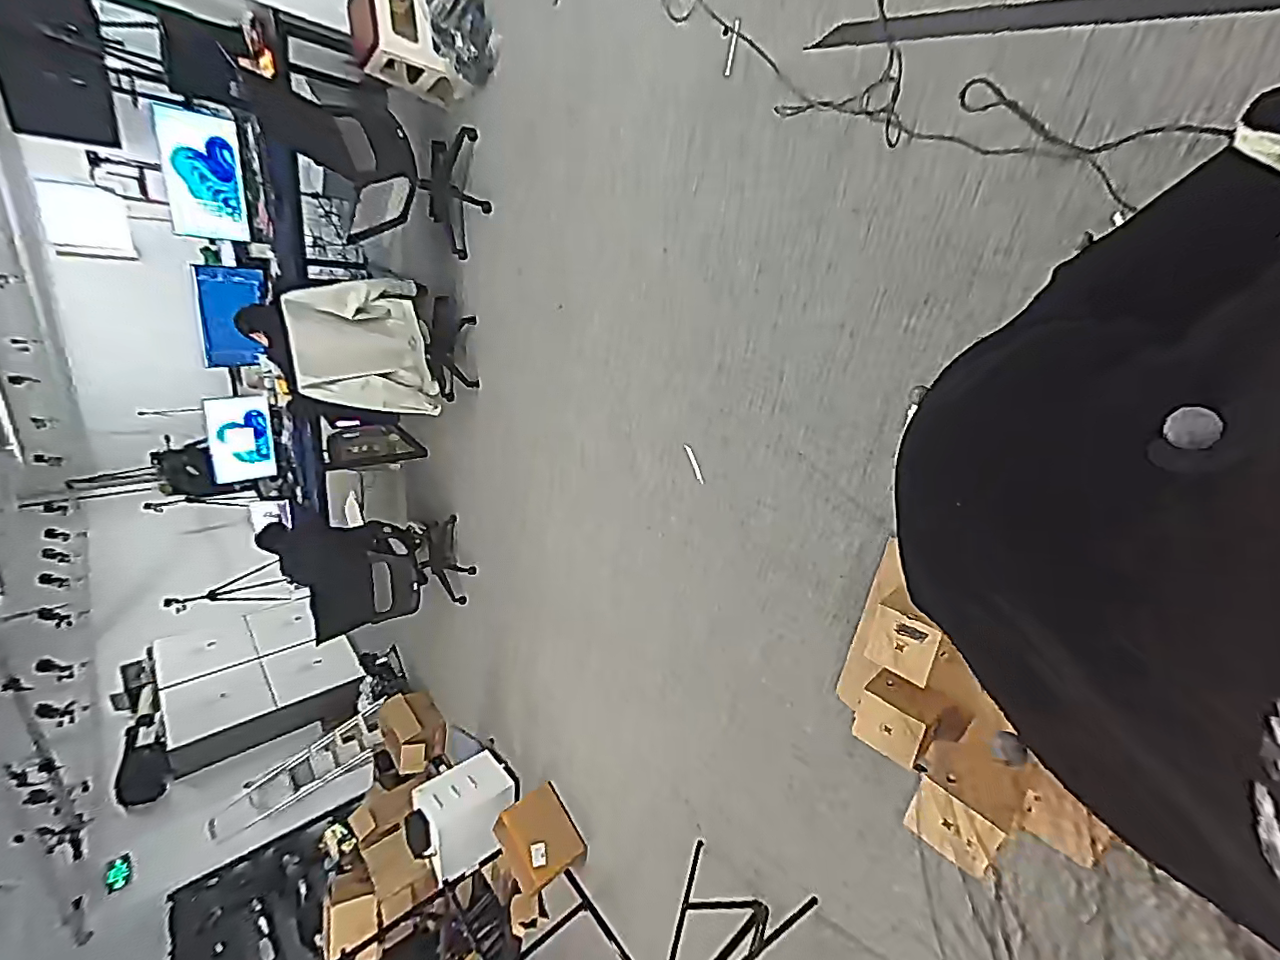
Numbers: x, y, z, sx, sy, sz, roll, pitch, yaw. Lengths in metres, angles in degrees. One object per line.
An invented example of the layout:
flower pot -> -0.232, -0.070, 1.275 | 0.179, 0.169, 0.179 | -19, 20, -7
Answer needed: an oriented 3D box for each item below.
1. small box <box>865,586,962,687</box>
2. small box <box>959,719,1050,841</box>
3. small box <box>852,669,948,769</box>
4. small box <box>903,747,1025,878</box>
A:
small box -> 0.737, 0.409, 1.451 | 0.168, 0.176, 0.179 | 25, 118, 42
small box -> 0.896, 0.743, 1.362 | 0.179, 0.176, 0.168 | 24, 117, 41
small box -> 0.733, 0.660, 1.526 | 0.179, 0.176, 0.168 | 24, 118, 41
small box -> 0.759, 0.763, 1.269 | 0.179, 0.176, 0.168 | 29, 121, 40
